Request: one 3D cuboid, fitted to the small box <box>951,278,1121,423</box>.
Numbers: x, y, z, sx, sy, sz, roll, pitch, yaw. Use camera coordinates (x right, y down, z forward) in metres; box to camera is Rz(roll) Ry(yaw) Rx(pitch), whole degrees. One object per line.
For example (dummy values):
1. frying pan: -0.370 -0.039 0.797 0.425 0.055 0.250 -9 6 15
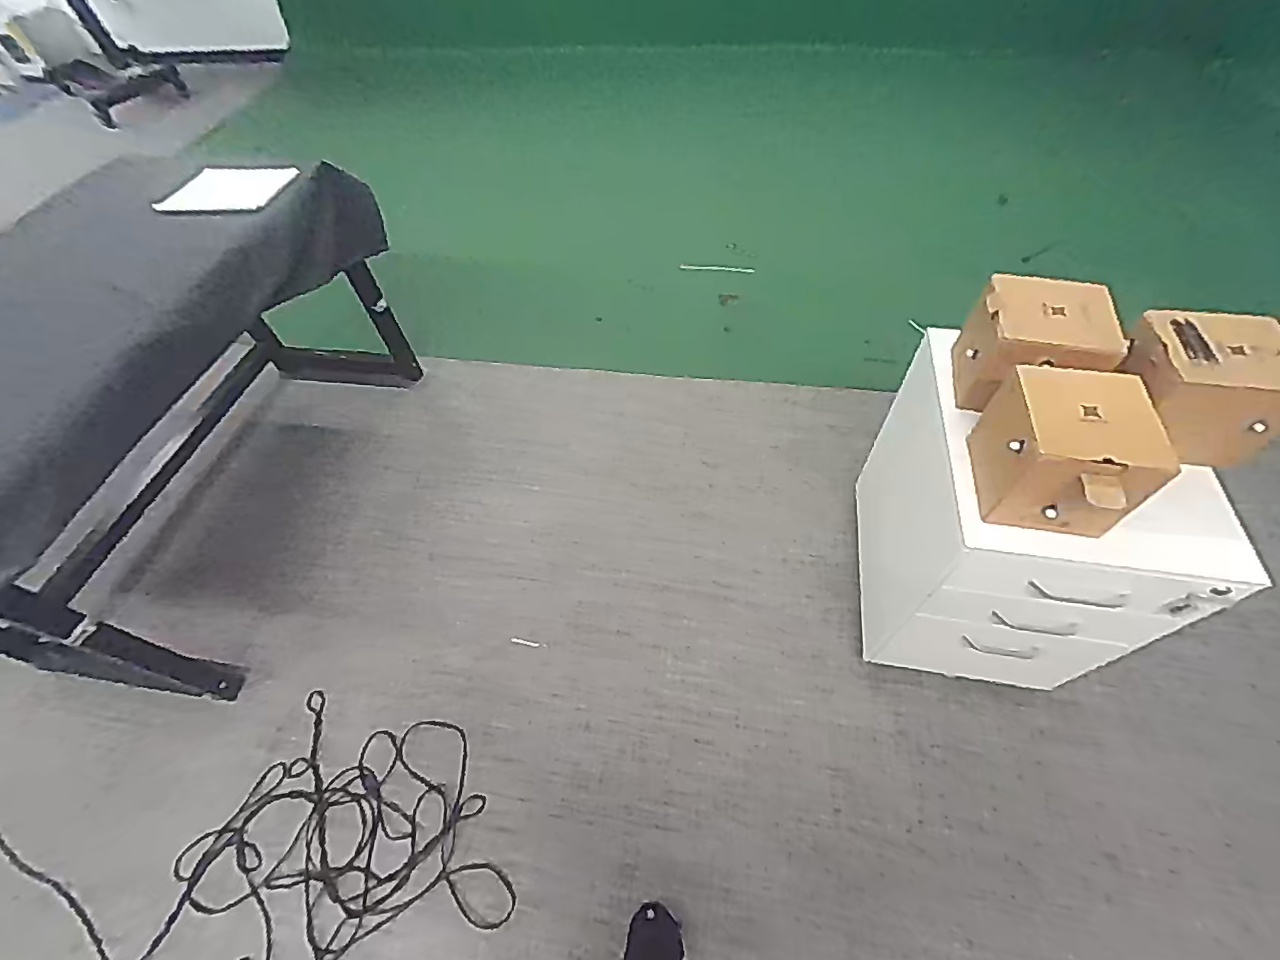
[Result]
1. small box: 0.655 -0.217 0.926 0.179 0.176 0.168 11 57 10
